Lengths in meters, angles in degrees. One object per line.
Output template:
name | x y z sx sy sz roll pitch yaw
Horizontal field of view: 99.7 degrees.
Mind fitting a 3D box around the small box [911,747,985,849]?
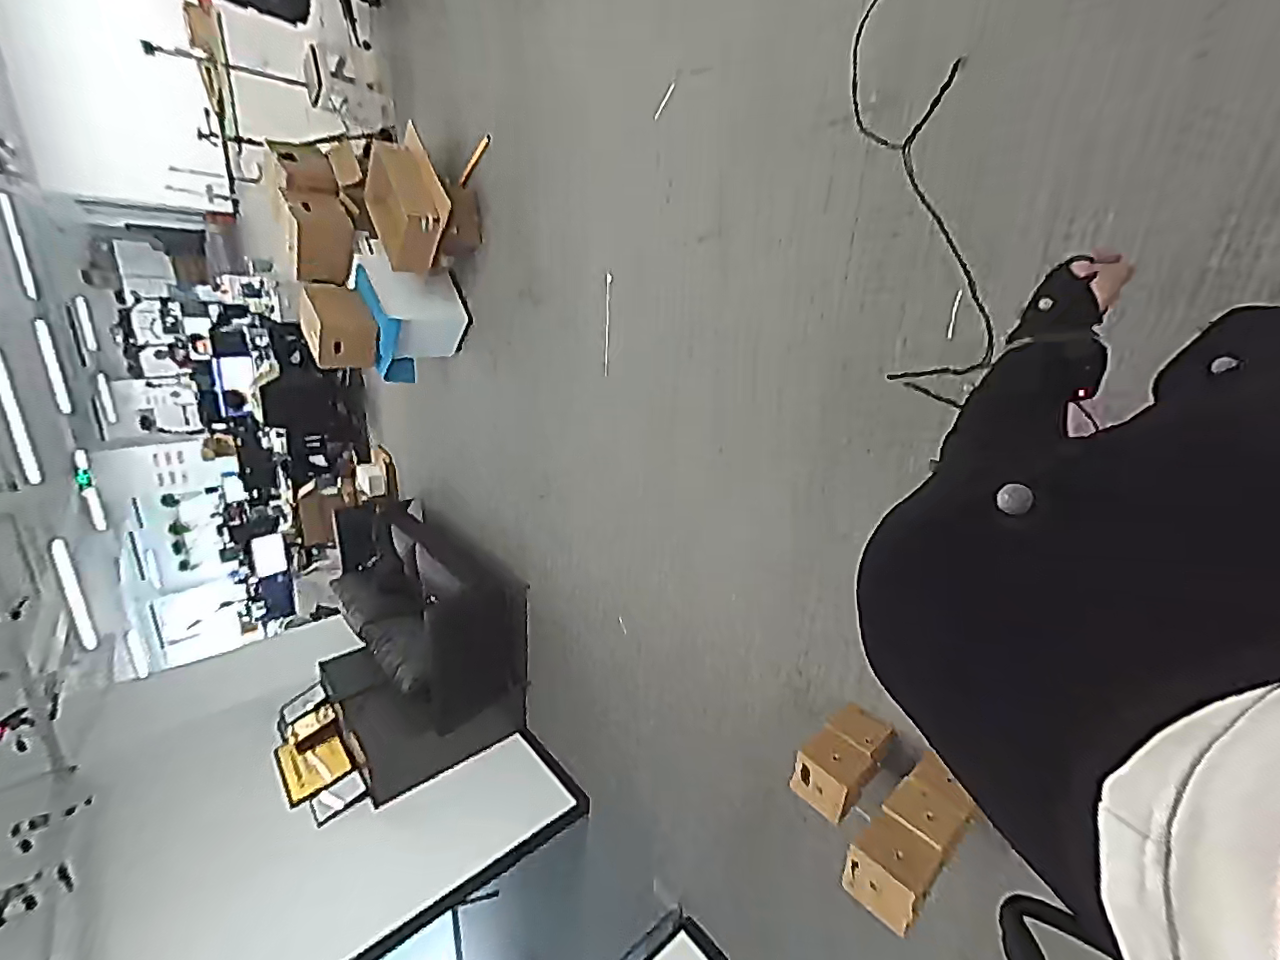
small box | 0.929 0.966 1.662 0.168 0.176 0.179 26 119 44

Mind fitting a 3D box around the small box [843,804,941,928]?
small box | 0.682 1.030 1.460 0.179 0.176 0.168 23 117 44

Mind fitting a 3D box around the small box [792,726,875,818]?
small box | 0.626 0.932 1.754 0.179 0.176 0.168 26 121 42

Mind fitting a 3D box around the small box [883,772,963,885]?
small box | 0.806 0.995 1.561 0.168 0.176 0.179 22 117 44
